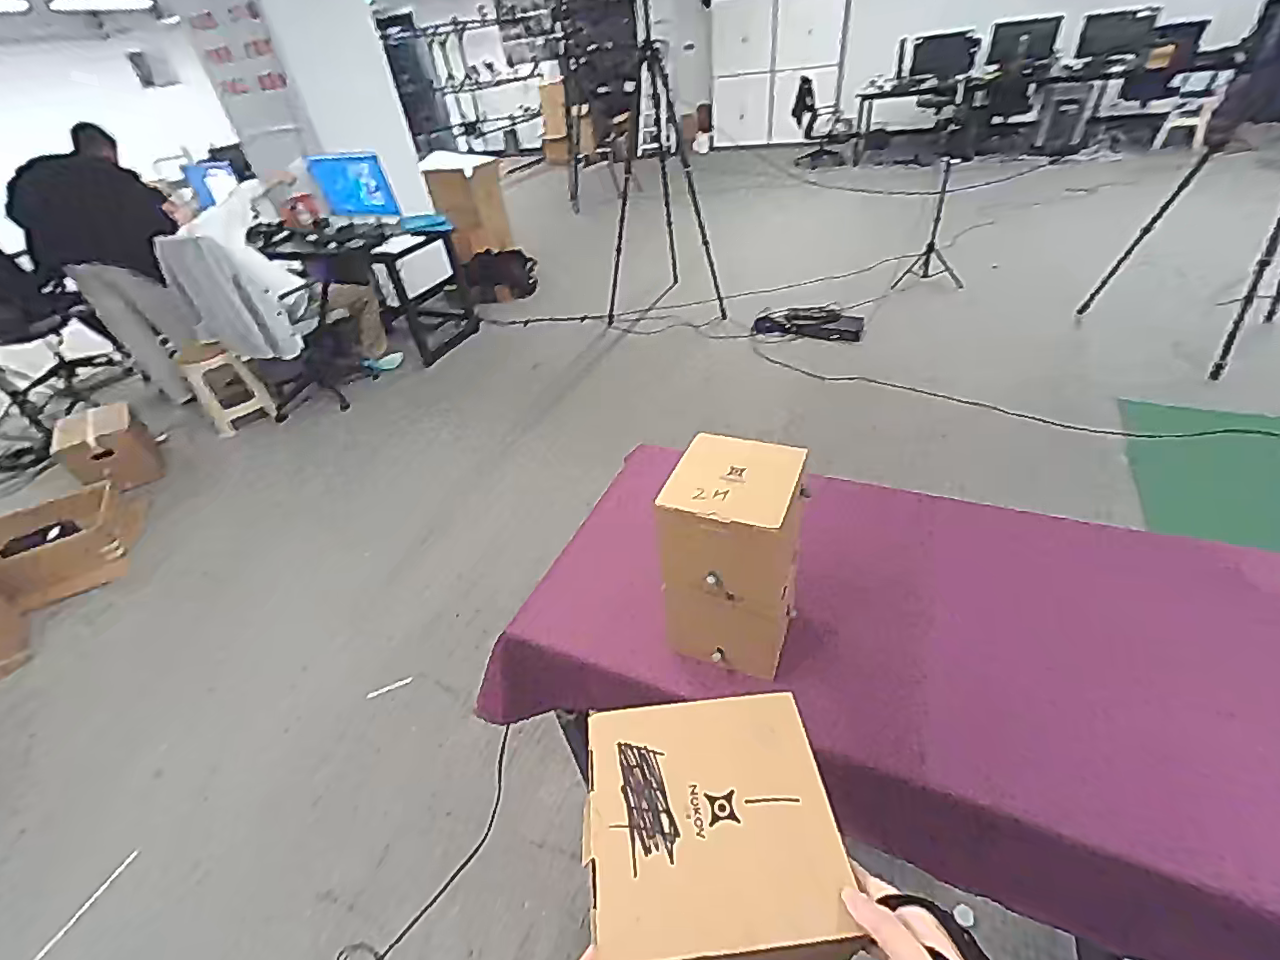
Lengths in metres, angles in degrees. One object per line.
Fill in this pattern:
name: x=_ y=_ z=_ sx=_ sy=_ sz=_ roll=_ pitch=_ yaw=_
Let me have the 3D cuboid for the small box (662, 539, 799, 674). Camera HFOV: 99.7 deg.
small box: x=0.149 y=0.189 z=0.885 sx=0.179 sy=0.176 sz=0.168 roll=11 pitch=42 yaw=21

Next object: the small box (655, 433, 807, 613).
small box: x=0.134 y=0.059 z=0.784 sx=0.168 sy=0.176 sz=0.179 roll=11 pitch=43 yaw=23

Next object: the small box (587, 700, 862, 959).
small box: x=0.052 y=0.308 z=0.445 sx=0.179 sy=0.176 sz=0.168 roll=-4 pitch=38 yaw=-3
